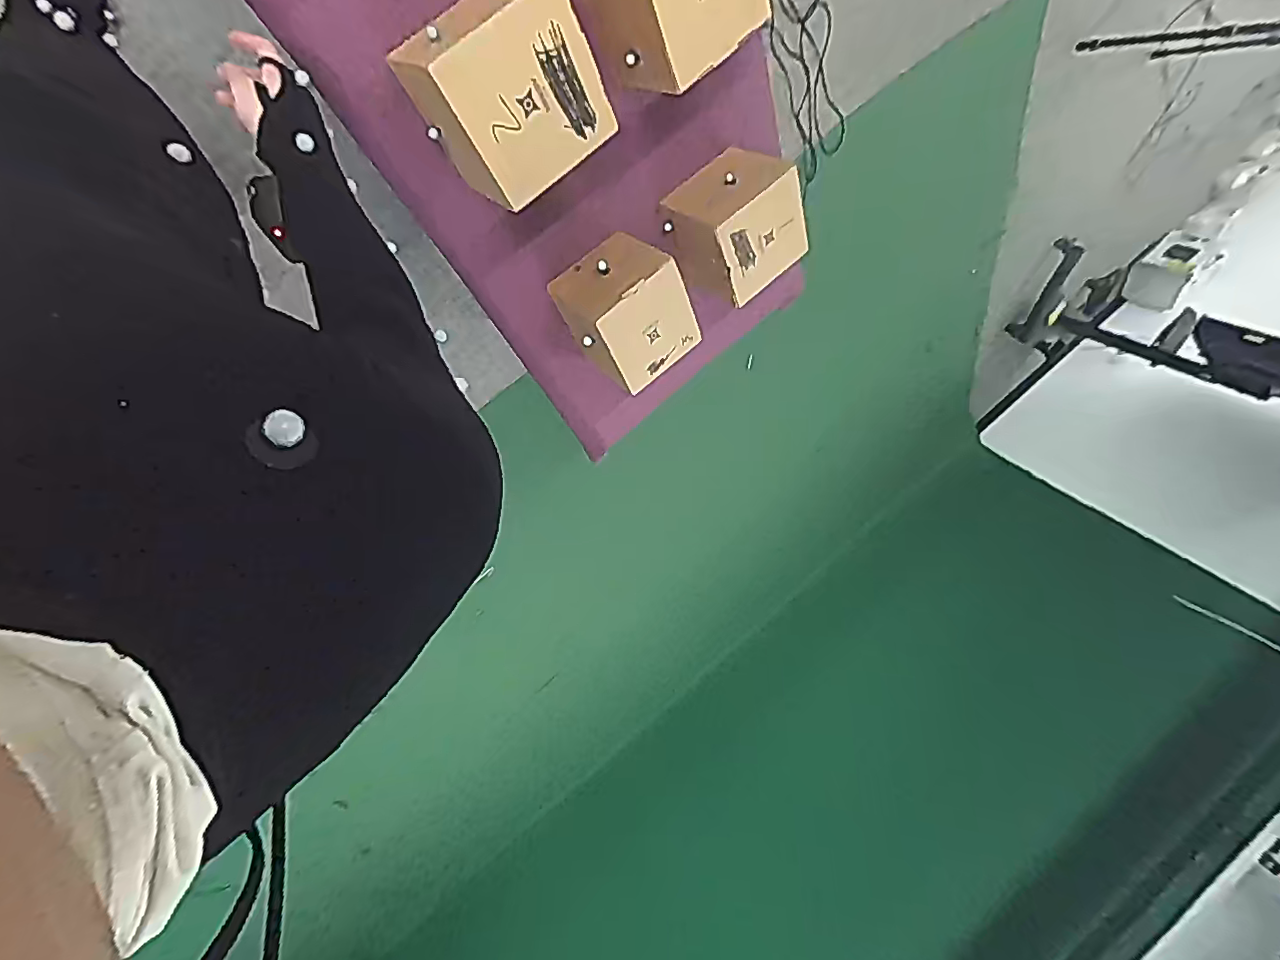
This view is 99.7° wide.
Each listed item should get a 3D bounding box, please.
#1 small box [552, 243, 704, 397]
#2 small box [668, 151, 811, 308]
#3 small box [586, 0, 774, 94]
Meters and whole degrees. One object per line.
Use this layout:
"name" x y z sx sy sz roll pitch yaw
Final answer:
"small box" -0.022 -0.283 0.929 0.168 0.176 0.179 -40 140 -6
"small box" 0.170 -0.443 0.952 0.179 0.176 0.168 -40 141 -5
"small box" 0.037 -0.631 0.676 0.168 0.176 0.179 -42 140 -3
